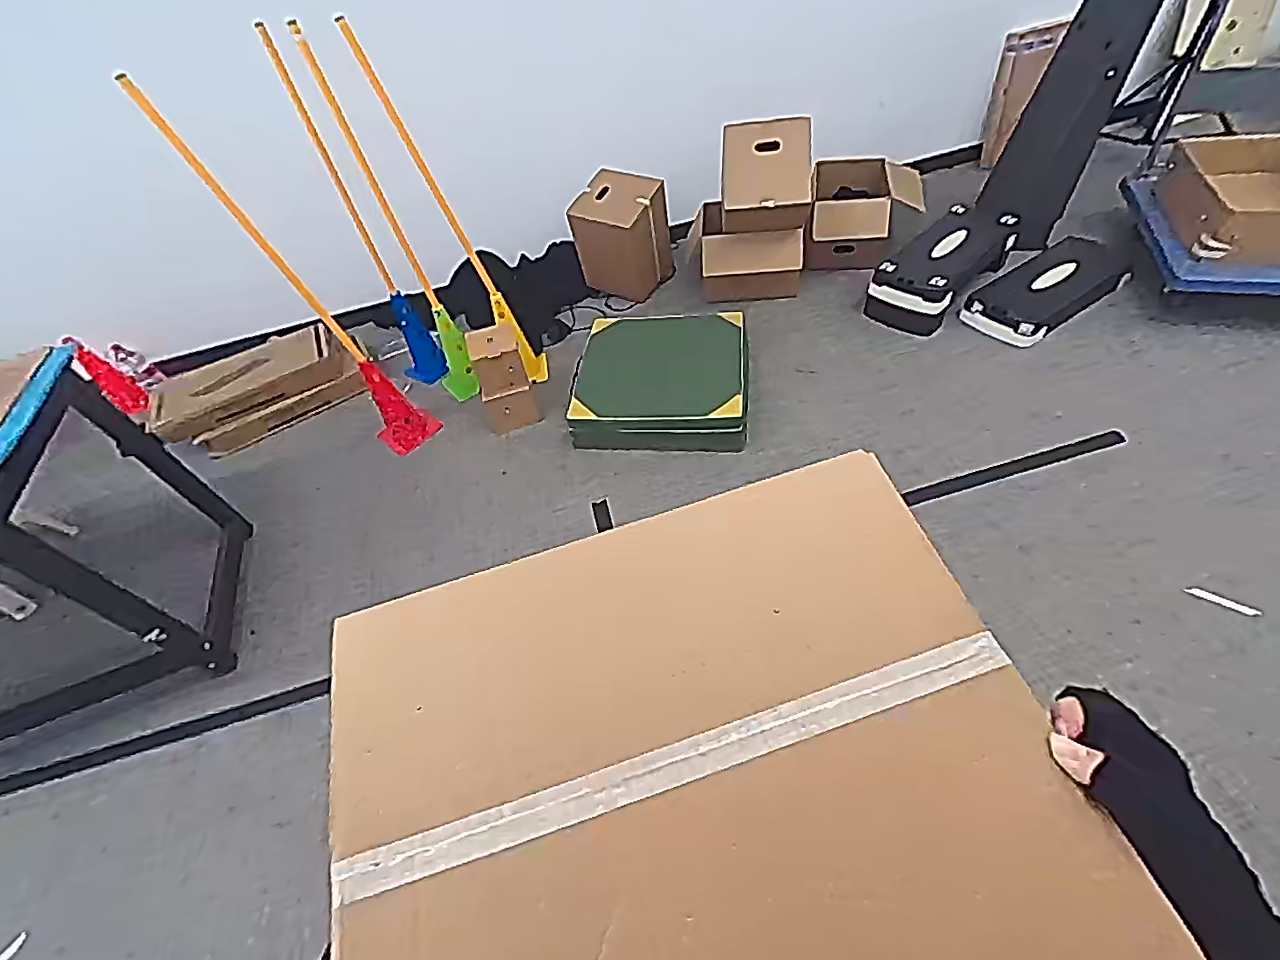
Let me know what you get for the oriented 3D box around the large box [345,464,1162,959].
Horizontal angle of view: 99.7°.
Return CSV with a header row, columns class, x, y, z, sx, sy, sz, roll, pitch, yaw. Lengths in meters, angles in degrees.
class,x,y,z,sx,sy,sz,roll,pitch,yaw
large box,0.040,0.245,0.448,0.408,0.320,0.320,-18,58,-3
